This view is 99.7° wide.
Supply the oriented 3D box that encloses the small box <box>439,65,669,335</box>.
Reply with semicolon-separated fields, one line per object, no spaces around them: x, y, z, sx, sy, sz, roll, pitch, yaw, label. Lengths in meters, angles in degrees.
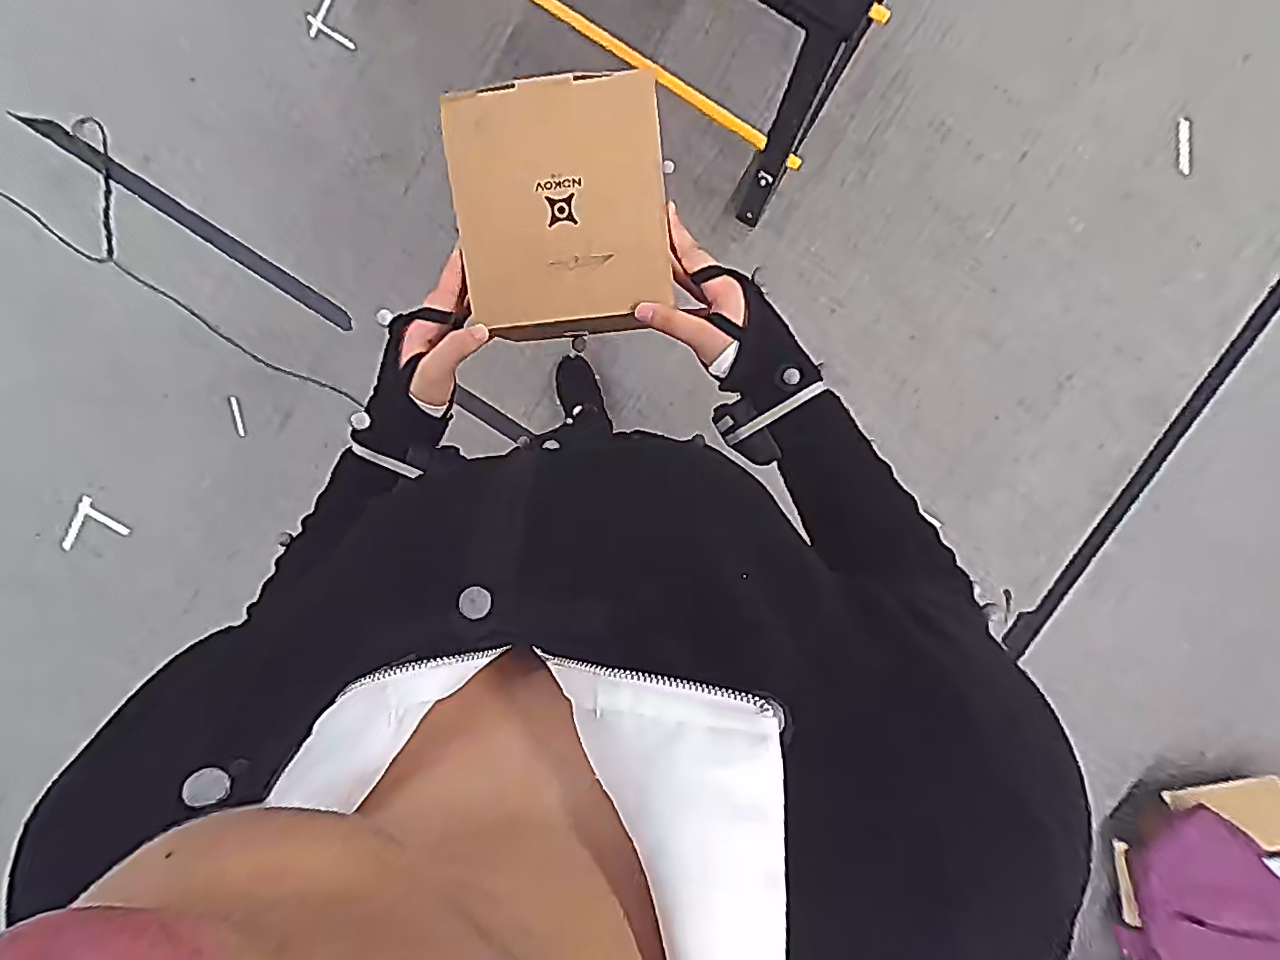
-0.066;-0.238;0.503;0.168;0.176;0.179;-6;101;1;small box
